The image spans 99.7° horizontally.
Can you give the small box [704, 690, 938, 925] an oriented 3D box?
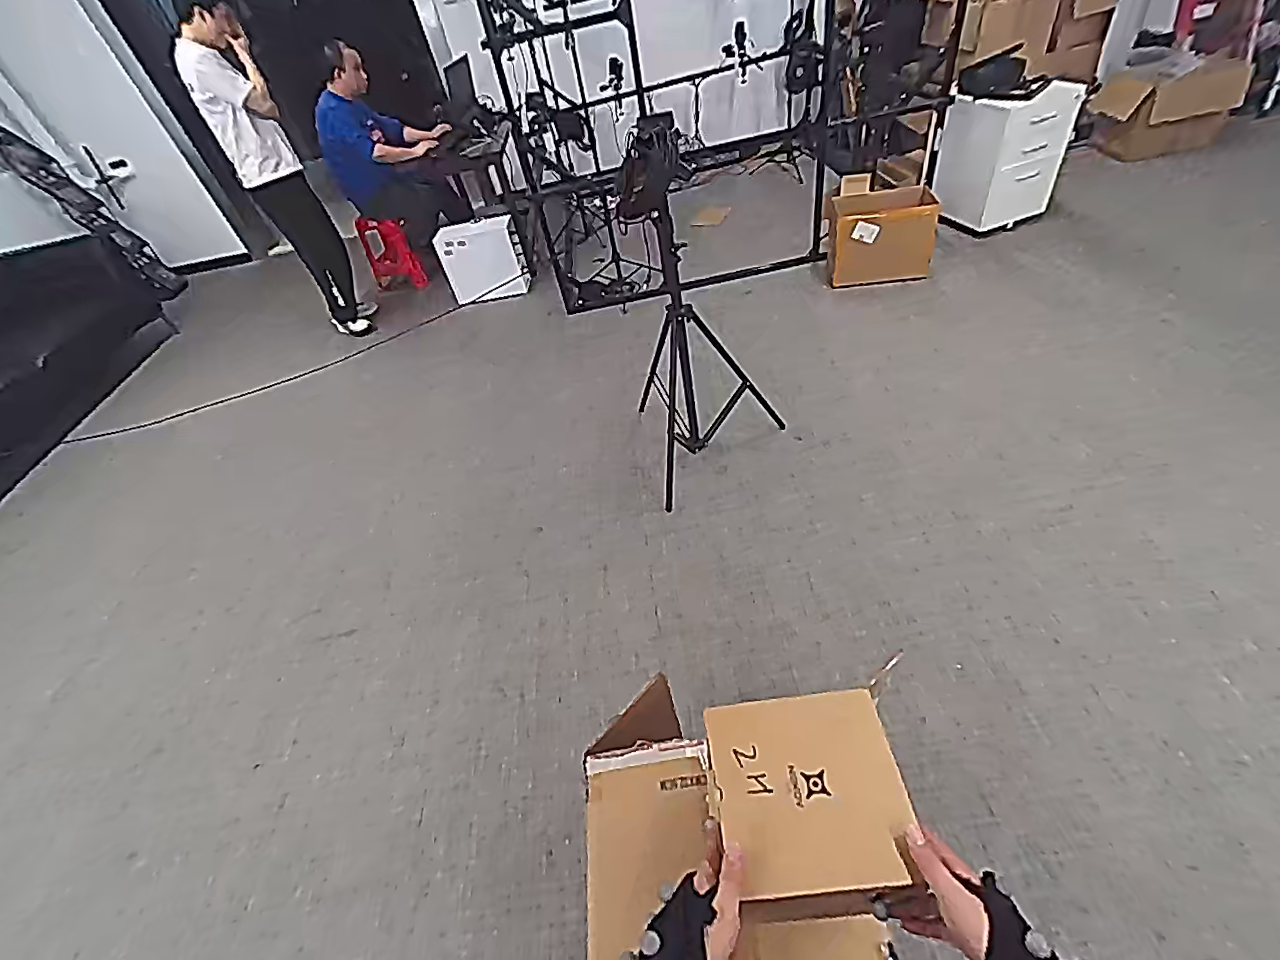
[{"bbox_3d":[0.167,0.339,0.558,0.179,0.176,0.168,-9,44,4],"label":"small box"}]
